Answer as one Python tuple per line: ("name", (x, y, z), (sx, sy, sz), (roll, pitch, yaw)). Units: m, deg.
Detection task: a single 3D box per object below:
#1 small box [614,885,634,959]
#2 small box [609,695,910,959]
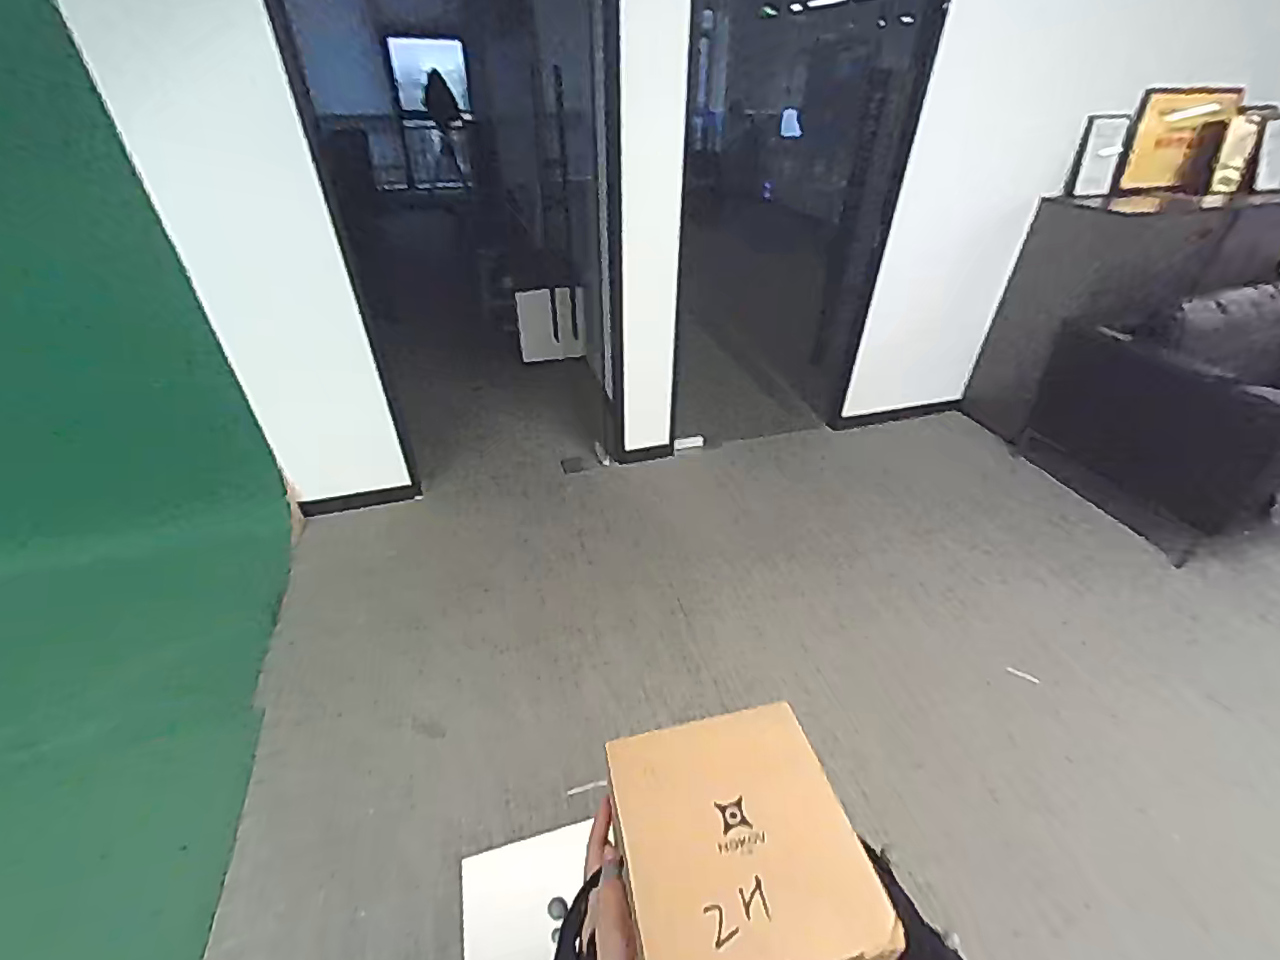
("small box", (0.064, 0.580, 0.619), (0.168, 0.176, 0.179), (-8, 36, -10))
("small box", (0.070, 0.309, 0.430), (0.168, 0.176, 0.179), (-8, 35, -10))
